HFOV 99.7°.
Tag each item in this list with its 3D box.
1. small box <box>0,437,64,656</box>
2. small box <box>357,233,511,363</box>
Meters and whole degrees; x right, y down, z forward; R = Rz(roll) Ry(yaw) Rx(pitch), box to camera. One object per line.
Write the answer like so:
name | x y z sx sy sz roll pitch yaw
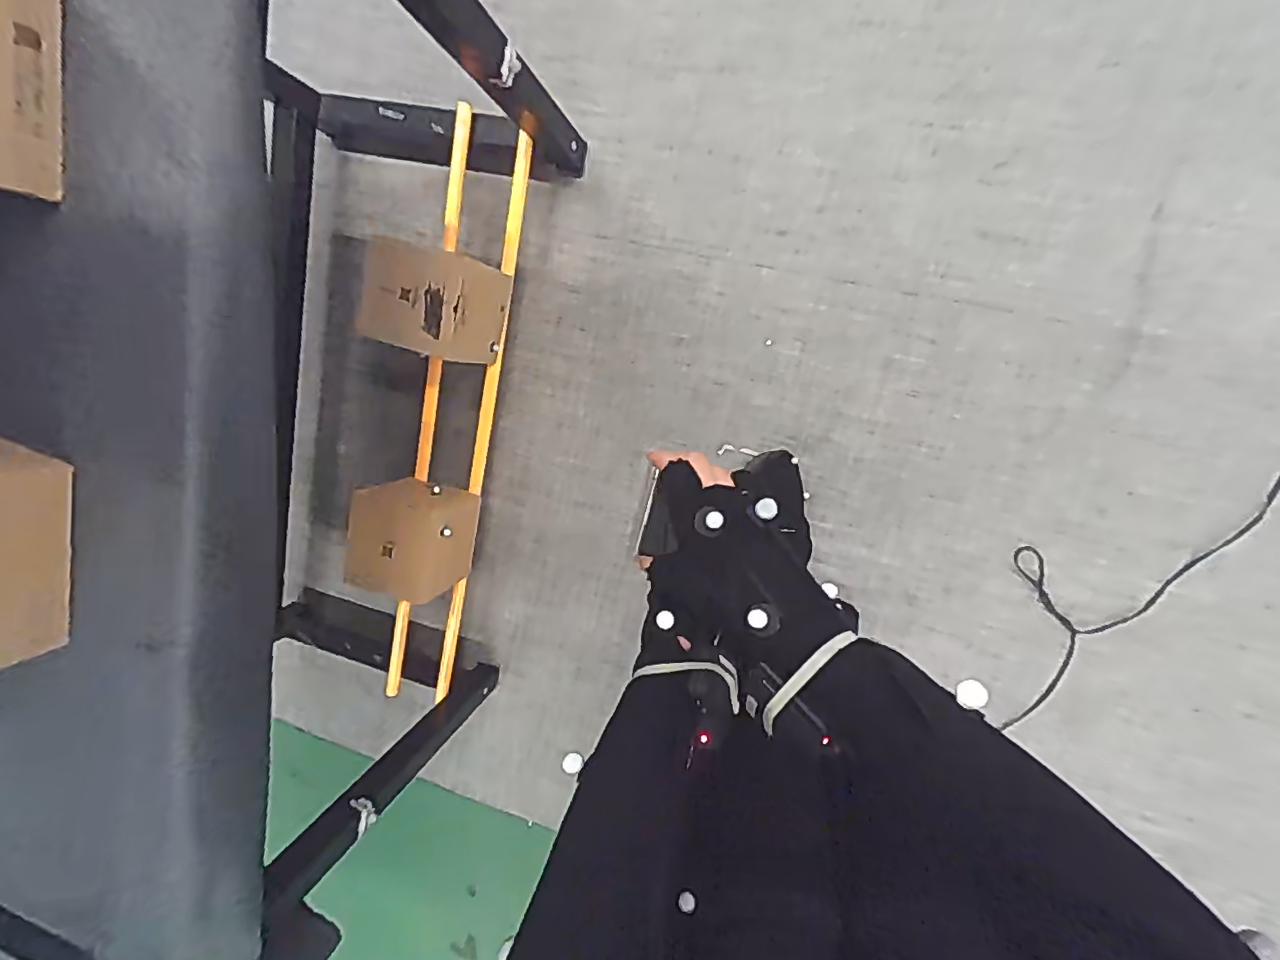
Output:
small box | -0.595 0.055 0.407 0.168 0.176 0.179 17 102 10
small box | -0.348 -0.305 0.938 0.179 0.176 0.168 18 102 10
